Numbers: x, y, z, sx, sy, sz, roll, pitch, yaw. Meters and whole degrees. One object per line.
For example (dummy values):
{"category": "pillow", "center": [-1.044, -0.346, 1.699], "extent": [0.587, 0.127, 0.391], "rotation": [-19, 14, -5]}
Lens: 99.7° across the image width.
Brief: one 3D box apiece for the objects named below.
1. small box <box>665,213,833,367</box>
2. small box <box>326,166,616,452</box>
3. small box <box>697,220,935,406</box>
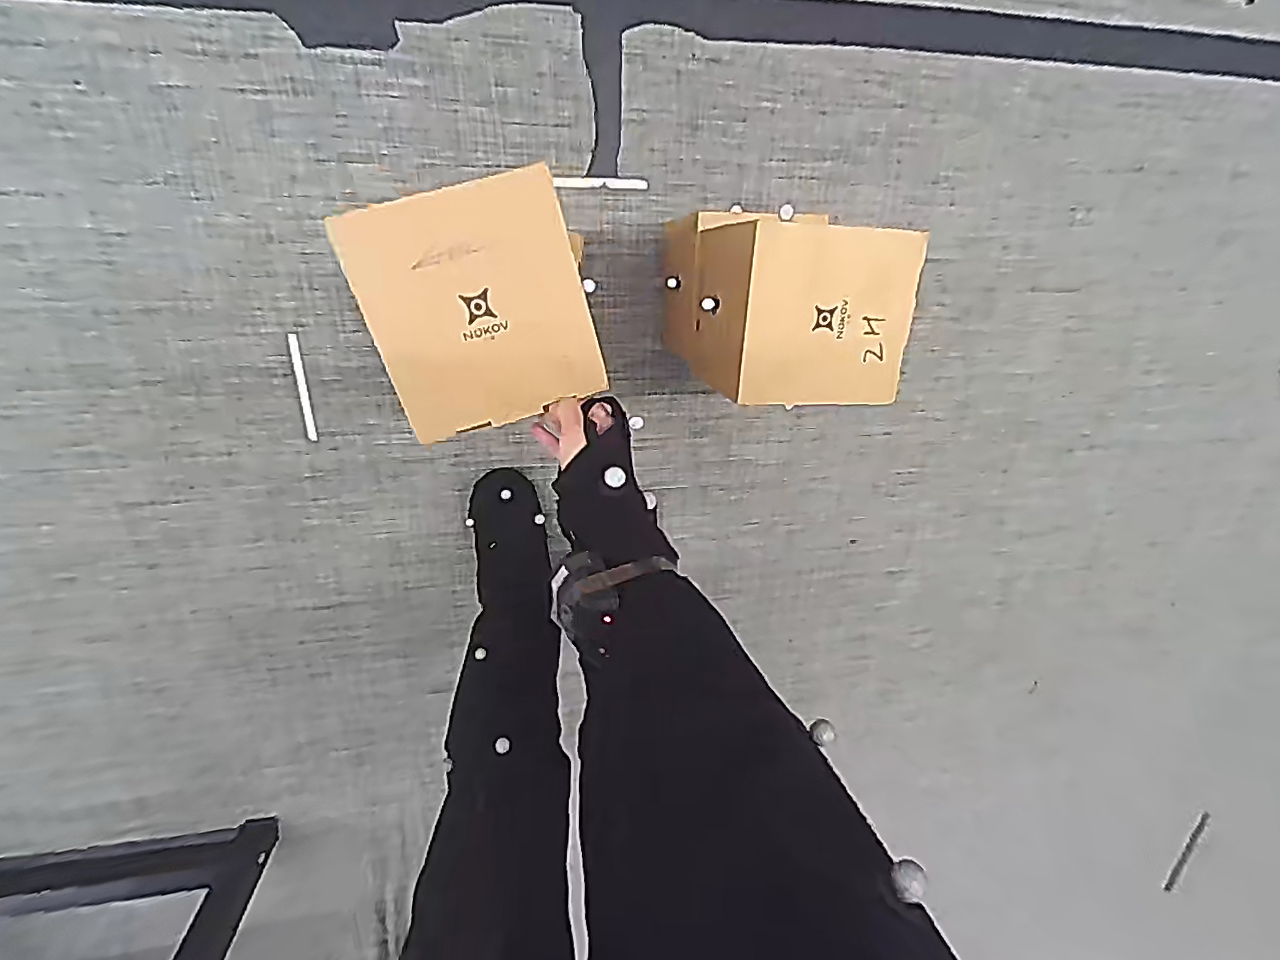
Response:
{"category": "small box", "center": [0.133, -0.254, 0.727], "extent": [0.168, 0.176, 0.179], "rotation": [-4, 111, -11]}
{"category": "small box", "center": [-0.134, -0.149, 0.482], "extent": [0.168, 0.176, 0.179], "rotation": [-20, 112, -7]}
{"category": "small box", "center": [0.170, -0.179, 0.584], "extent": [0.179, 0.176, 0.168], "rotation": [-2, 112, -12]}
